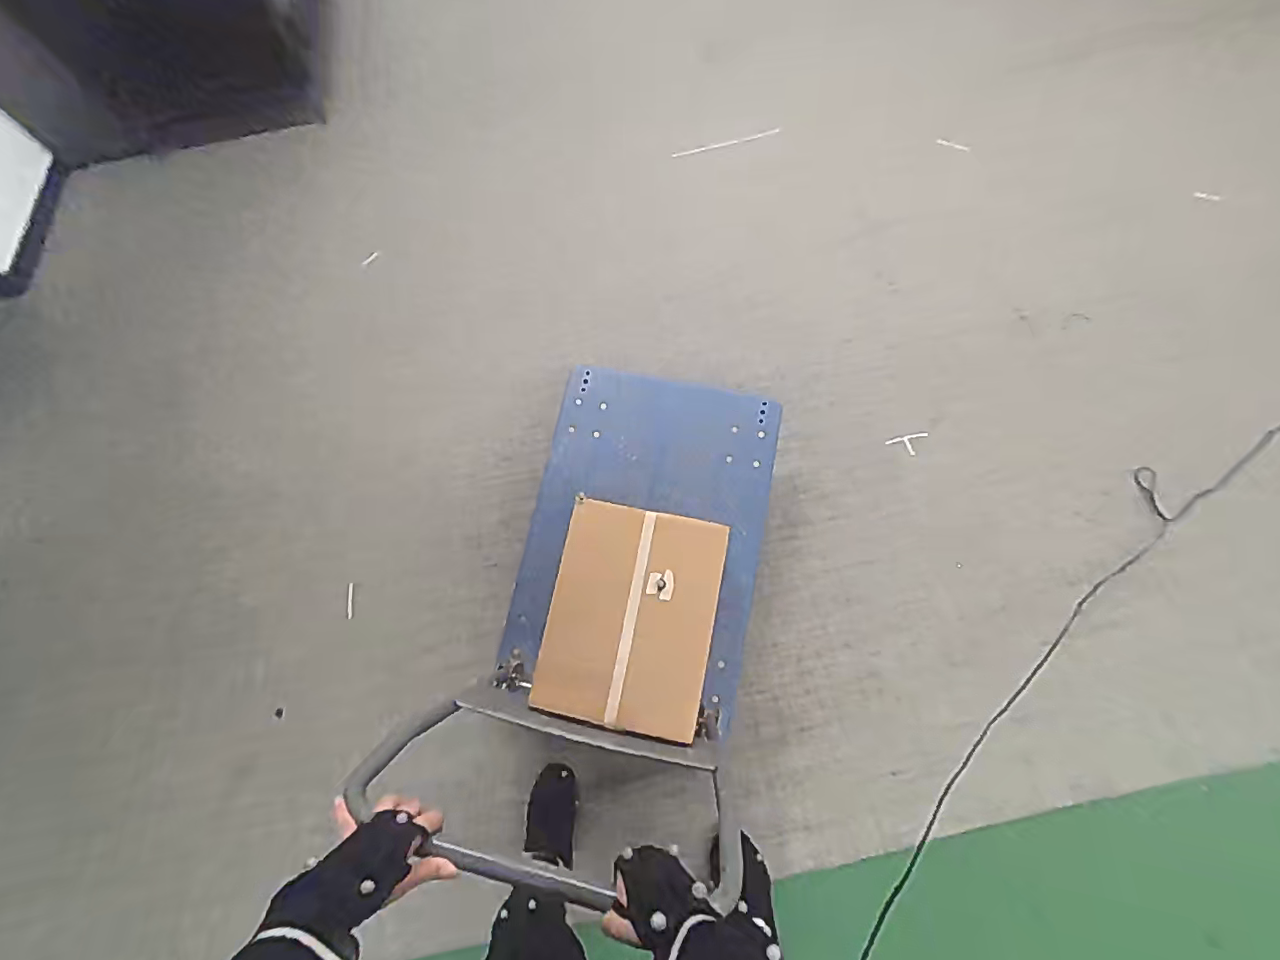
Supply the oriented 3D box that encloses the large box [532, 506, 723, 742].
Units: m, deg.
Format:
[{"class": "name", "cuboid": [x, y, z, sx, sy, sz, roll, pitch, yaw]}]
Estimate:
[{"class": "large box", "cuboid": [-0.008, 0.304, 1.191, 0.320, 0.320, 0.408, 11, 77, 6]}]
